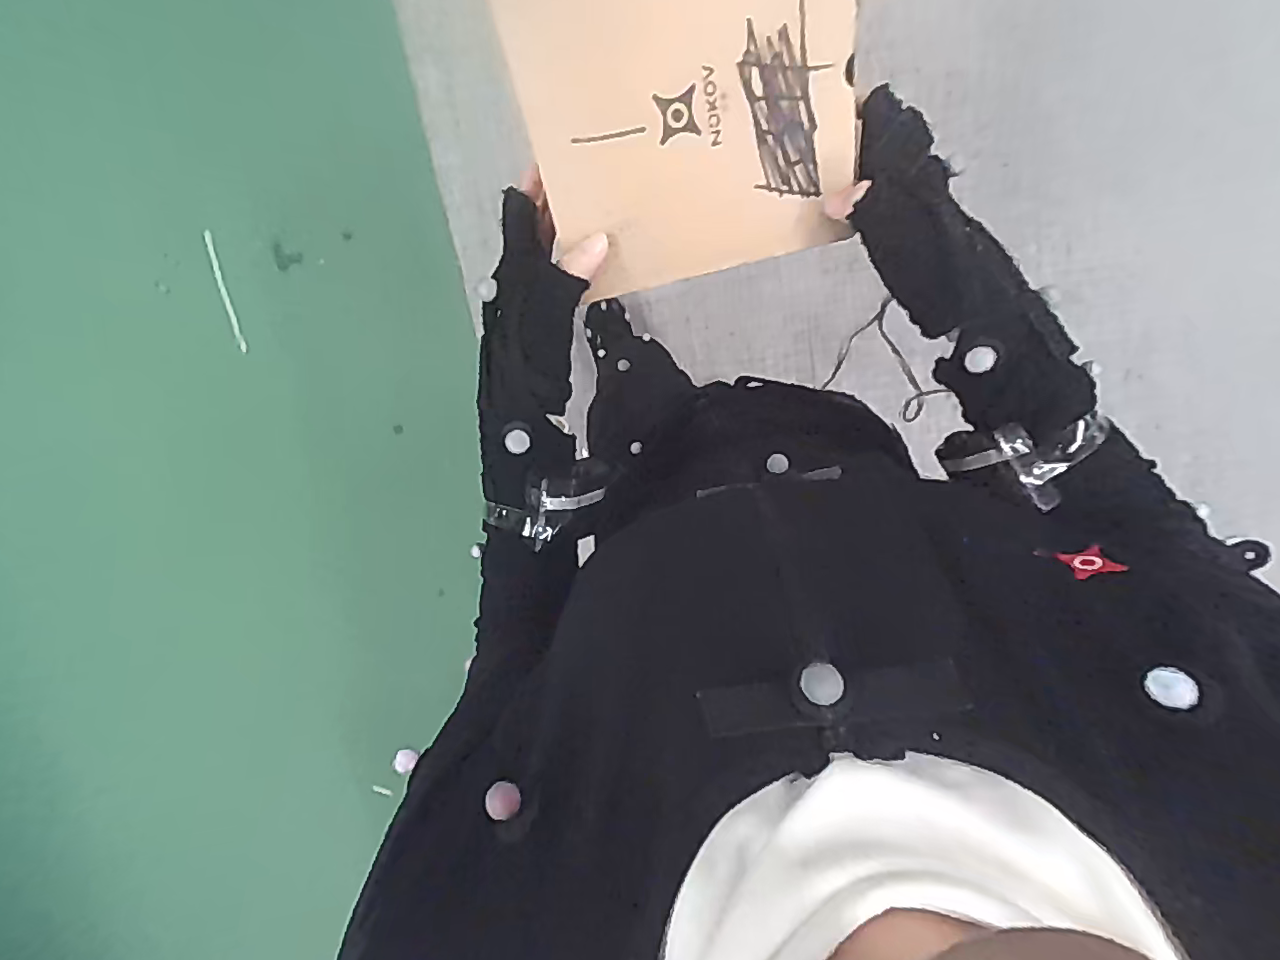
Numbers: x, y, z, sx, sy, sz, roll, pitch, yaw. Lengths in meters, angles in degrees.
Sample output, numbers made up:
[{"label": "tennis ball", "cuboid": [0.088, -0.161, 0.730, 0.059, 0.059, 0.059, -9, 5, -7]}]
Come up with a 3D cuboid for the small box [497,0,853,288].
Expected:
[{"label": "small box", "cuboid": [0.024, -0.250, 0.357, 0.179, 0.176, 0.168, -11, 126, 6]}]
